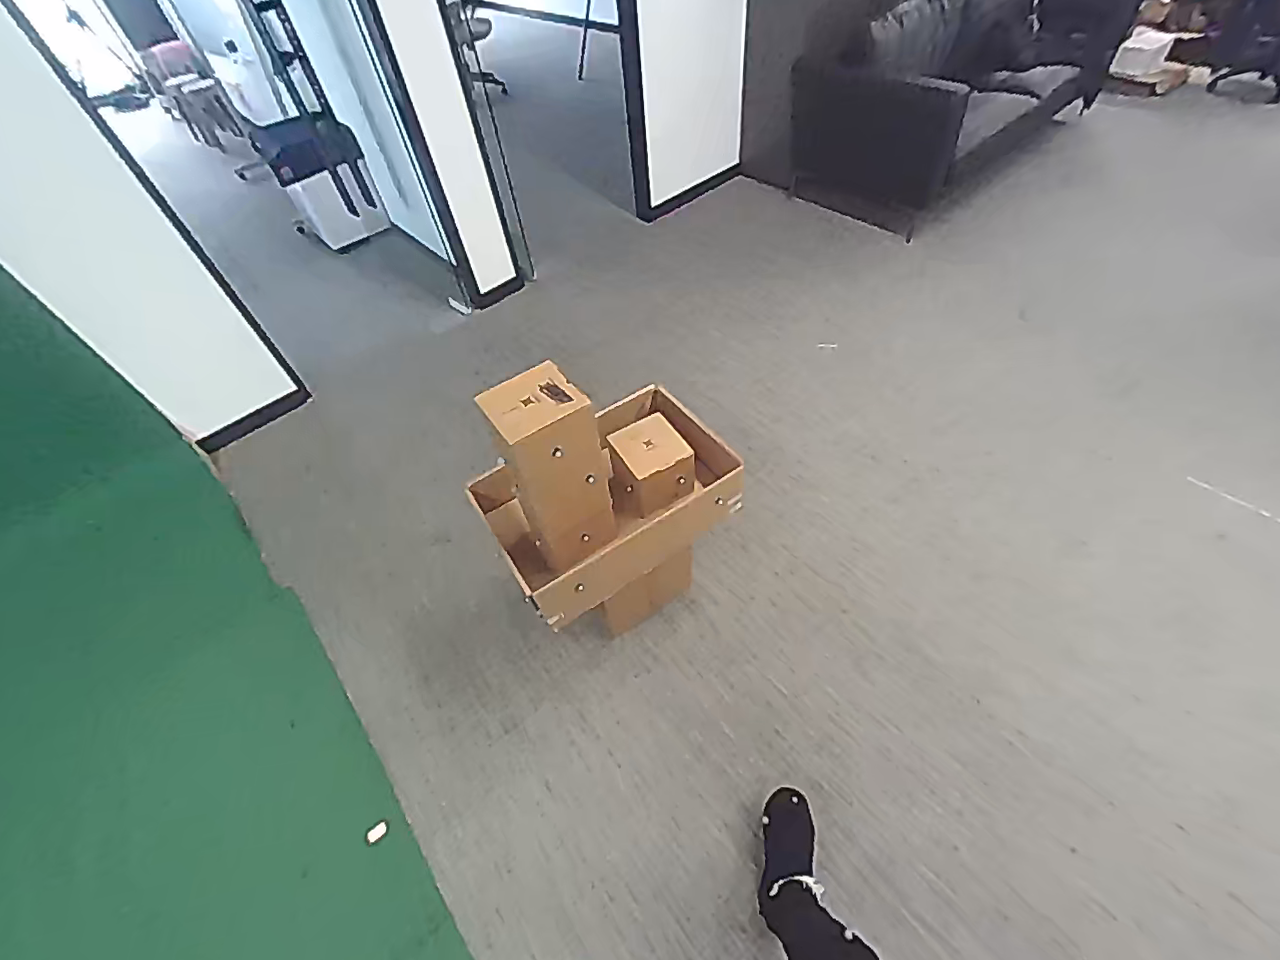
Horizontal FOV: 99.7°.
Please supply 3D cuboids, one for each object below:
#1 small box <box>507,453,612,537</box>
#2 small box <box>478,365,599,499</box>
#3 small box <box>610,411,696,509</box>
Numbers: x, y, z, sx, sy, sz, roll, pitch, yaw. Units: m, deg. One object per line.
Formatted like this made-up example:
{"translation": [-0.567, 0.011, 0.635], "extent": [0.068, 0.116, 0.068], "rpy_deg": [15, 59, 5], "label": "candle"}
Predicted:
{"translation": [-0.182, 0.000, 1.236], "extent": [0.179, 0.176, 0.168], "rpy_deg": [-30, 55, -16], "label": "small box"}
{"translation": [-0.198, -0.096, 1.104], "extent": [0.179, 0.176, 0.168], "rpy_deg": [-32, 55, -16], "label": "small box"}
{"translation": [0.041, -0.044, 1.444], "extent": [0.168, 0.176, 0.179], "rpy_deg": [-27, 54, -13], "label": "small box"}
